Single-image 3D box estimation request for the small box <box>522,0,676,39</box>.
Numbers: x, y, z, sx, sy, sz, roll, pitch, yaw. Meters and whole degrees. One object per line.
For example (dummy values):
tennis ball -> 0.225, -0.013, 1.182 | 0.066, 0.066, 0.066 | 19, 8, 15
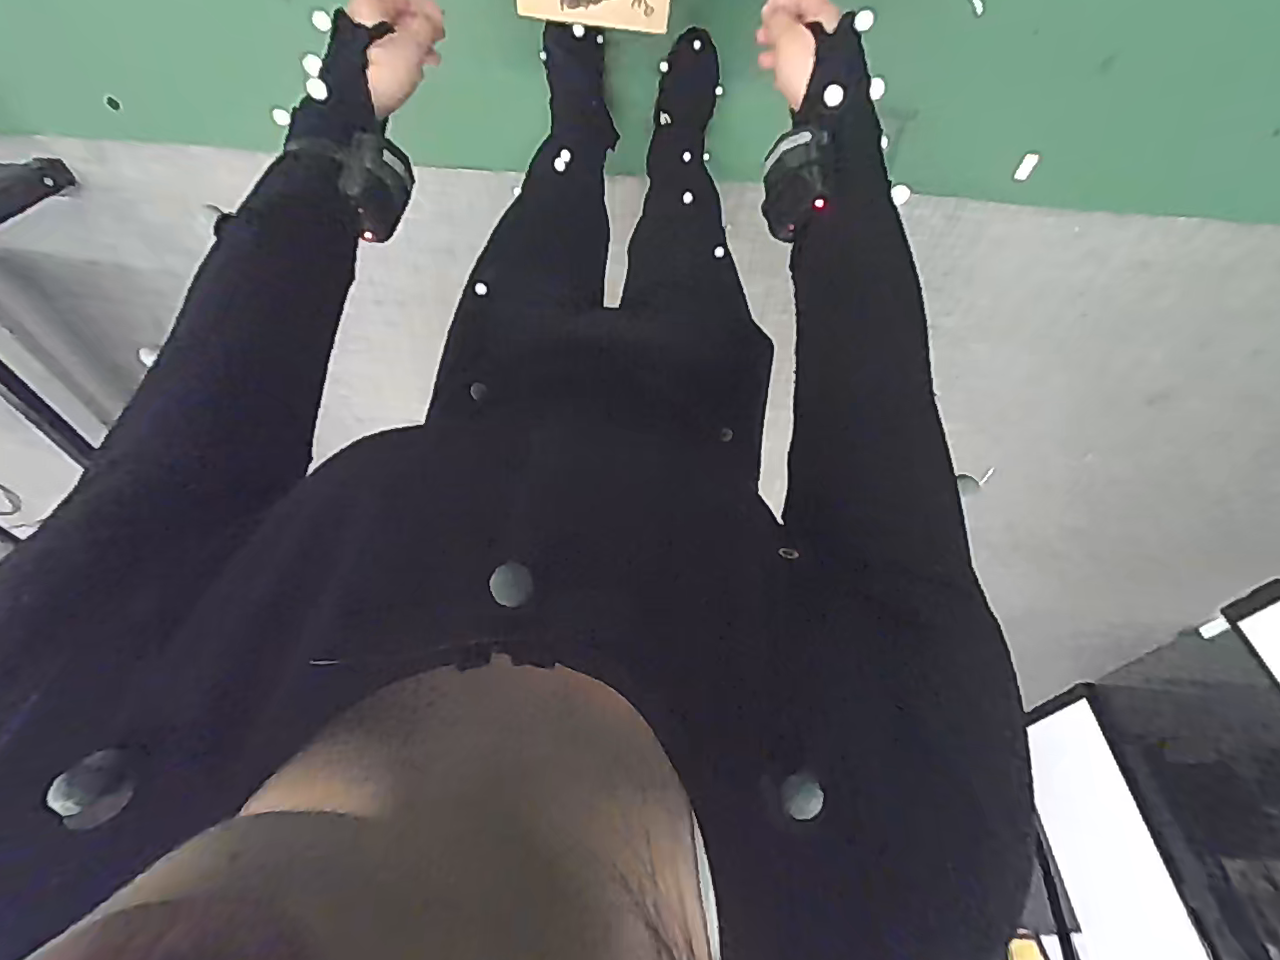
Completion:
small box -> -0.036, -0.611, 0.579 | 0.168, 0.176, 0.179 | 5, 139, -4
